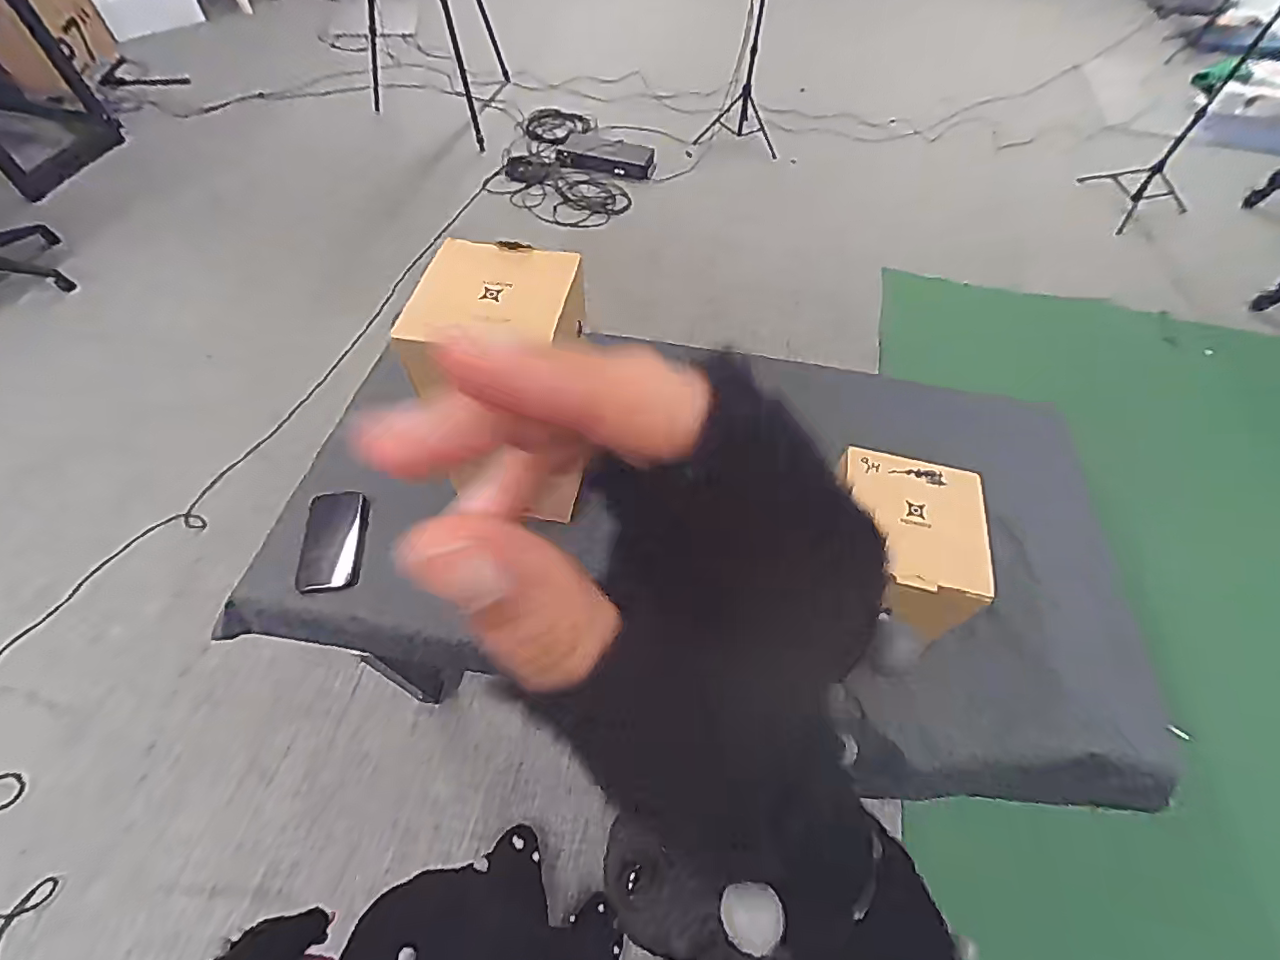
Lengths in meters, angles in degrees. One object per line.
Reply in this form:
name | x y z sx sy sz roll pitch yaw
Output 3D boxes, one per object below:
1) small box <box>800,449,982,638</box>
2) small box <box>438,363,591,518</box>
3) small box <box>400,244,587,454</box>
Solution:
small box | 0.320 0.090 0.720 0.168 0.176 0.179 13 57 6
small box | -0.168 -0.064 0.794 0.168 0.176 0.179 9 56 3
small box | -0.160 -0.156 0.661 0.168 0.176 0.179 7 57 2
